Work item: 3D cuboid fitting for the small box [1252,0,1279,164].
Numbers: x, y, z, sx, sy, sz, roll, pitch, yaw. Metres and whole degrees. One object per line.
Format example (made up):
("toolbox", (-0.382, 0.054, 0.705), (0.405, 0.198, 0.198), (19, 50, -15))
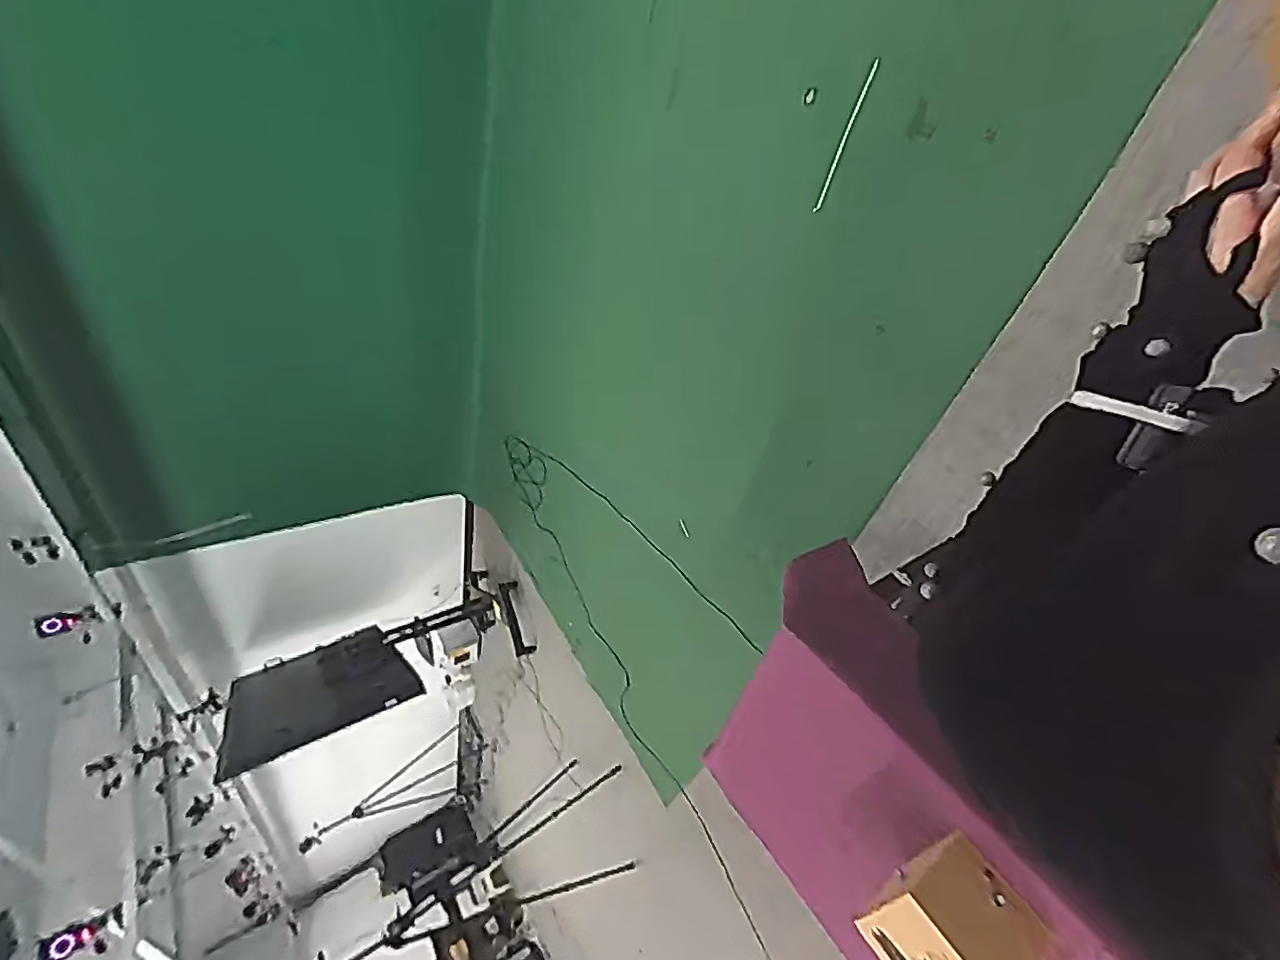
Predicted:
("small box", (0.416, -0.245, 0.233), (0.168, 0.176, 0.179), (-10, 120, 35))
